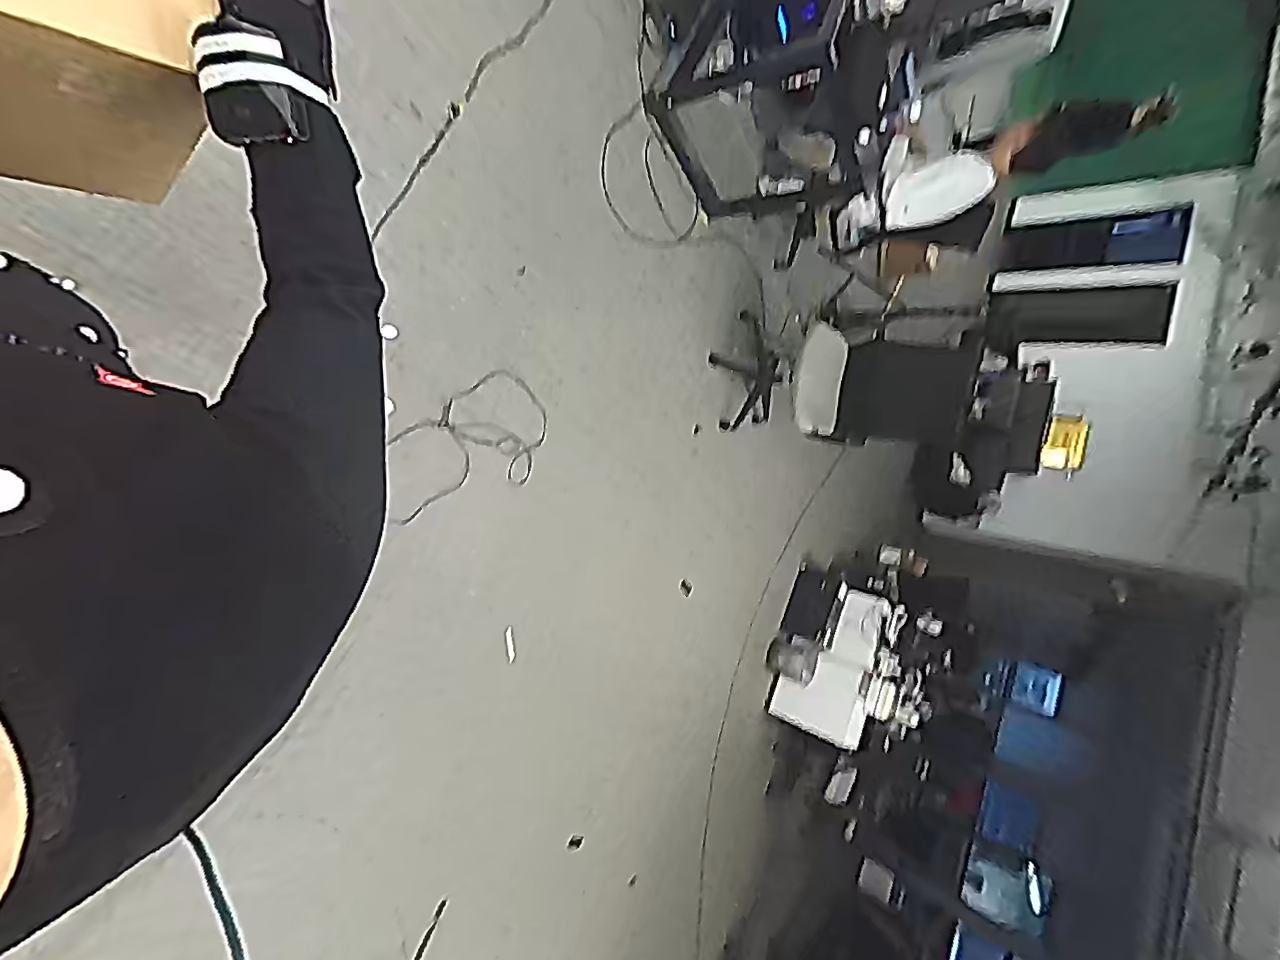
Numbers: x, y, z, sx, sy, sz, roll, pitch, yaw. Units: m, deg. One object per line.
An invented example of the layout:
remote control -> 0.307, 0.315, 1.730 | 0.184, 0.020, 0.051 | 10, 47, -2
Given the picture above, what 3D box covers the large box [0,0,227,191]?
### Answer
large box -> -0.553, -0.421, 0.322 | 0.408, 0.320, 0.320 | -13, 103, -48
